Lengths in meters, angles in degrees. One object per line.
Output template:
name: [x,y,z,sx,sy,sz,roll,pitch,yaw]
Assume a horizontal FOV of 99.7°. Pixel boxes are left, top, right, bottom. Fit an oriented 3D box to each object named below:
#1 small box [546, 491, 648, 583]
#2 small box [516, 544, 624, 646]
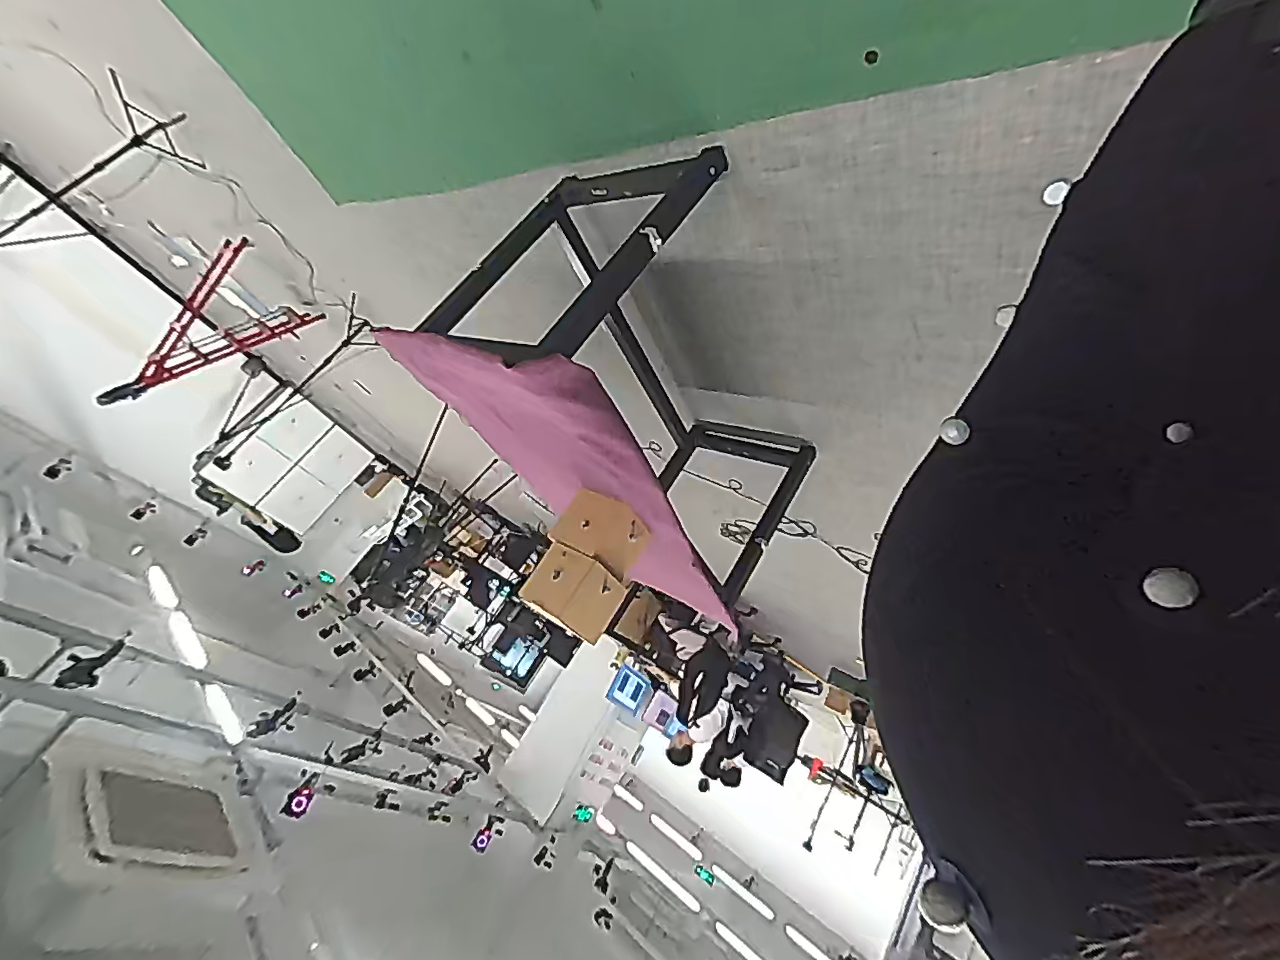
small box: [-0.109,0.150,1.449,0.179,0.176,0.168,18,155,38]
small box: [-0.174,0.288,1.382,0.168,0.176,0.179,16,153,41]
